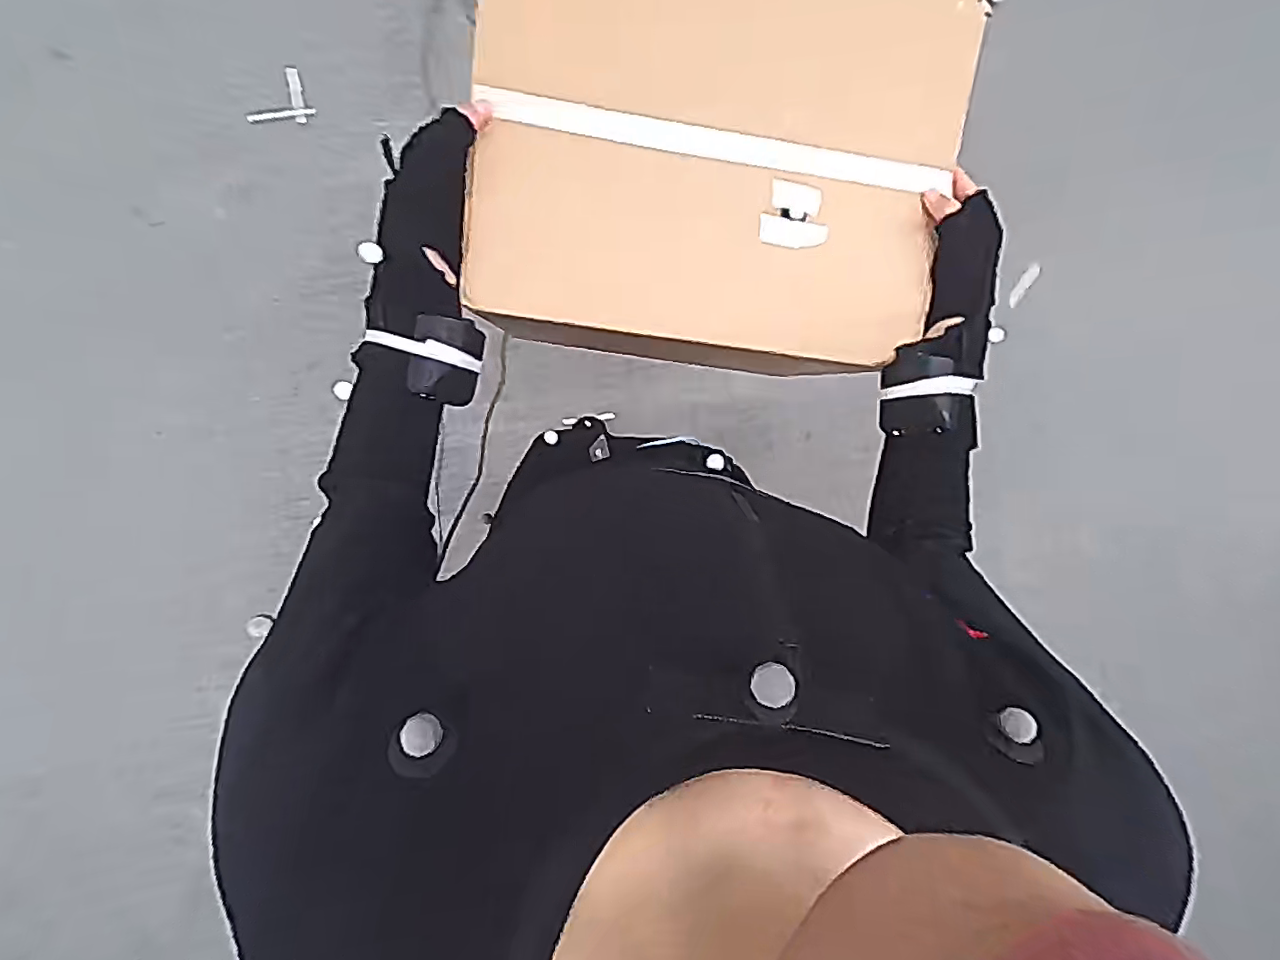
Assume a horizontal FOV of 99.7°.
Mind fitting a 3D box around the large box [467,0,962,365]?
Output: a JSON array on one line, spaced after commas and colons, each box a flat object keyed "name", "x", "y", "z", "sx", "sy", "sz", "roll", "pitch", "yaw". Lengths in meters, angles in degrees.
[{"name": "large box", "x": 0.045, "y": -0.310, "z": 0.604, "sx": 0.408, "sy": 0.320, "sz": 0.320, "roll": 6, "pitch": 101, "yaw": -8}]
